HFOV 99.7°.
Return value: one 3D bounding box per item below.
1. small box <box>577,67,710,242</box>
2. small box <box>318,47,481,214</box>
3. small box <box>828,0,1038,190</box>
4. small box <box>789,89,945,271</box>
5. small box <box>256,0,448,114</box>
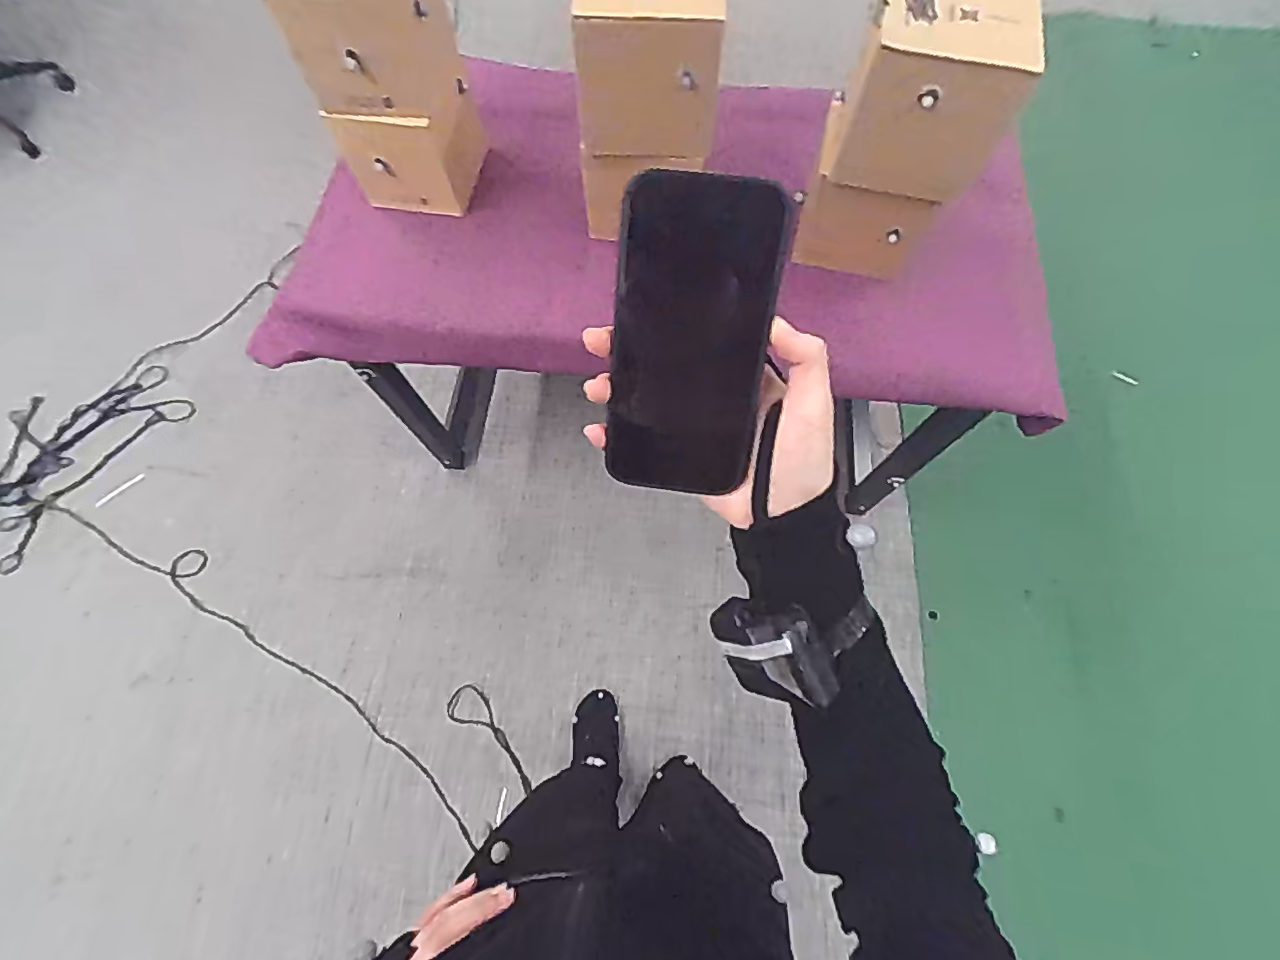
[{"bbox_3d":[0.008,-0.503,0.853,0.179,0.176,0.168,7,69,4],"label":"small box"},{"bbox_3d":[-0.376,-0.568,0.885,0.168,0.176,0.179,7,69,4],"label":"small box"},{"bbox_3d":[0.348,-0.494,0.671,0.179,0.176,0.168,12,69,5],"label":"small box"},{"bbox_3d":[0.344,-0.450,0.829,0.179,0.176,0.168,12,69,6],"label":"small box"},{"bbox_3d":[-0.378,-0.635,0.735,0.168,0.176,0.179,3,70,1],"label":"small box"}]
